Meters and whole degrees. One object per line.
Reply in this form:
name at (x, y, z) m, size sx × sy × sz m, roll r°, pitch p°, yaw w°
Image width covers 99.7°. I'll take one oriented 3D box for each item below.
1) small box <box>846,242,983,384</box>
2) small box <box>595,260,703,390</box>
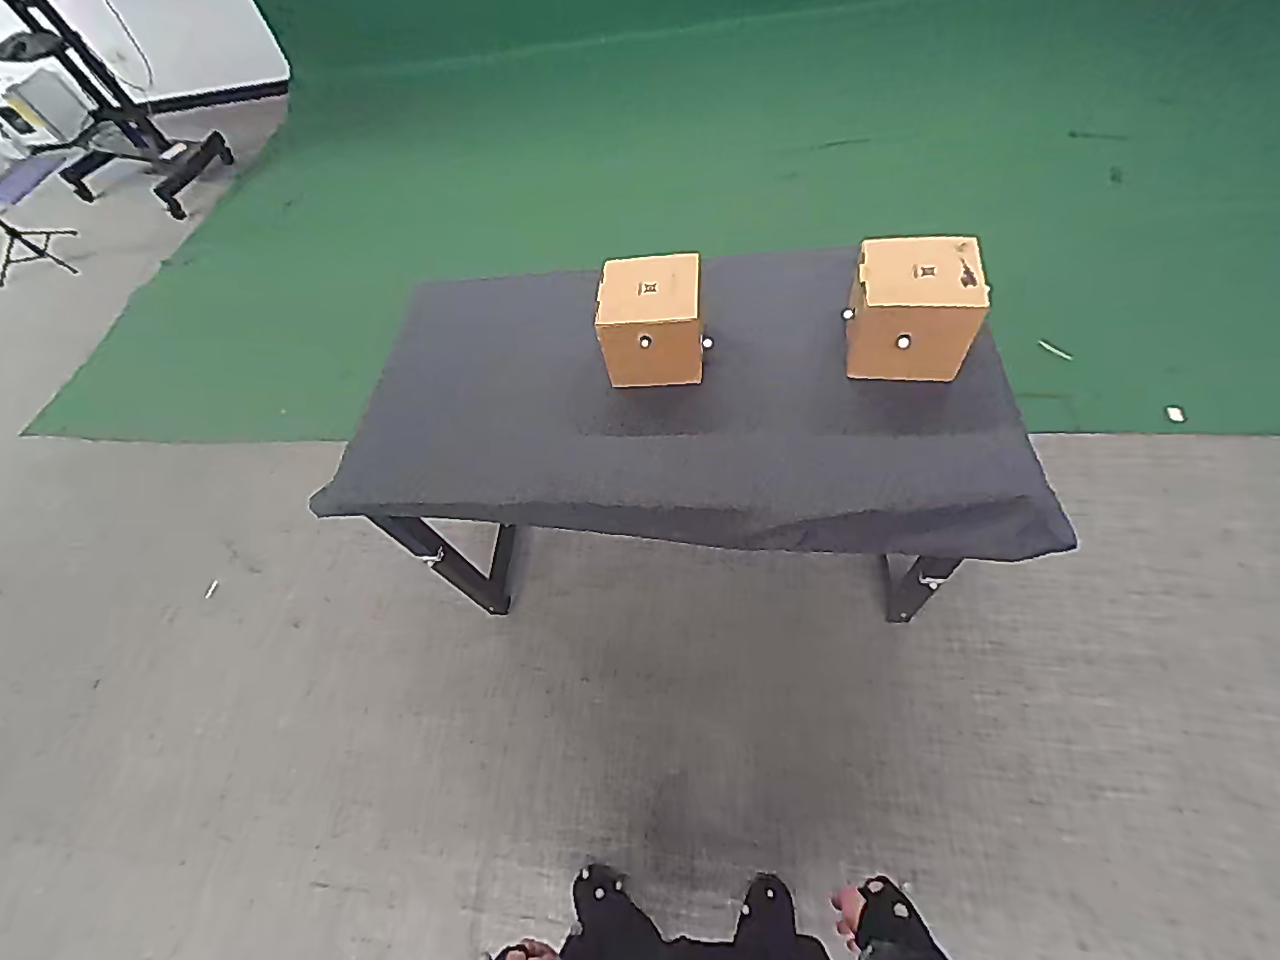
small box at (0.455, -0.280, 0.926) m, size 0.179 × 0.176 × 0.168 m, roll 4°, pitch 60°, yaw 14°
small box at (0.026, -0.282, 1.010) m, size 0.179 × 0.176 × 0.168 m, roll -1°, pitch 60°, yaw 8°
